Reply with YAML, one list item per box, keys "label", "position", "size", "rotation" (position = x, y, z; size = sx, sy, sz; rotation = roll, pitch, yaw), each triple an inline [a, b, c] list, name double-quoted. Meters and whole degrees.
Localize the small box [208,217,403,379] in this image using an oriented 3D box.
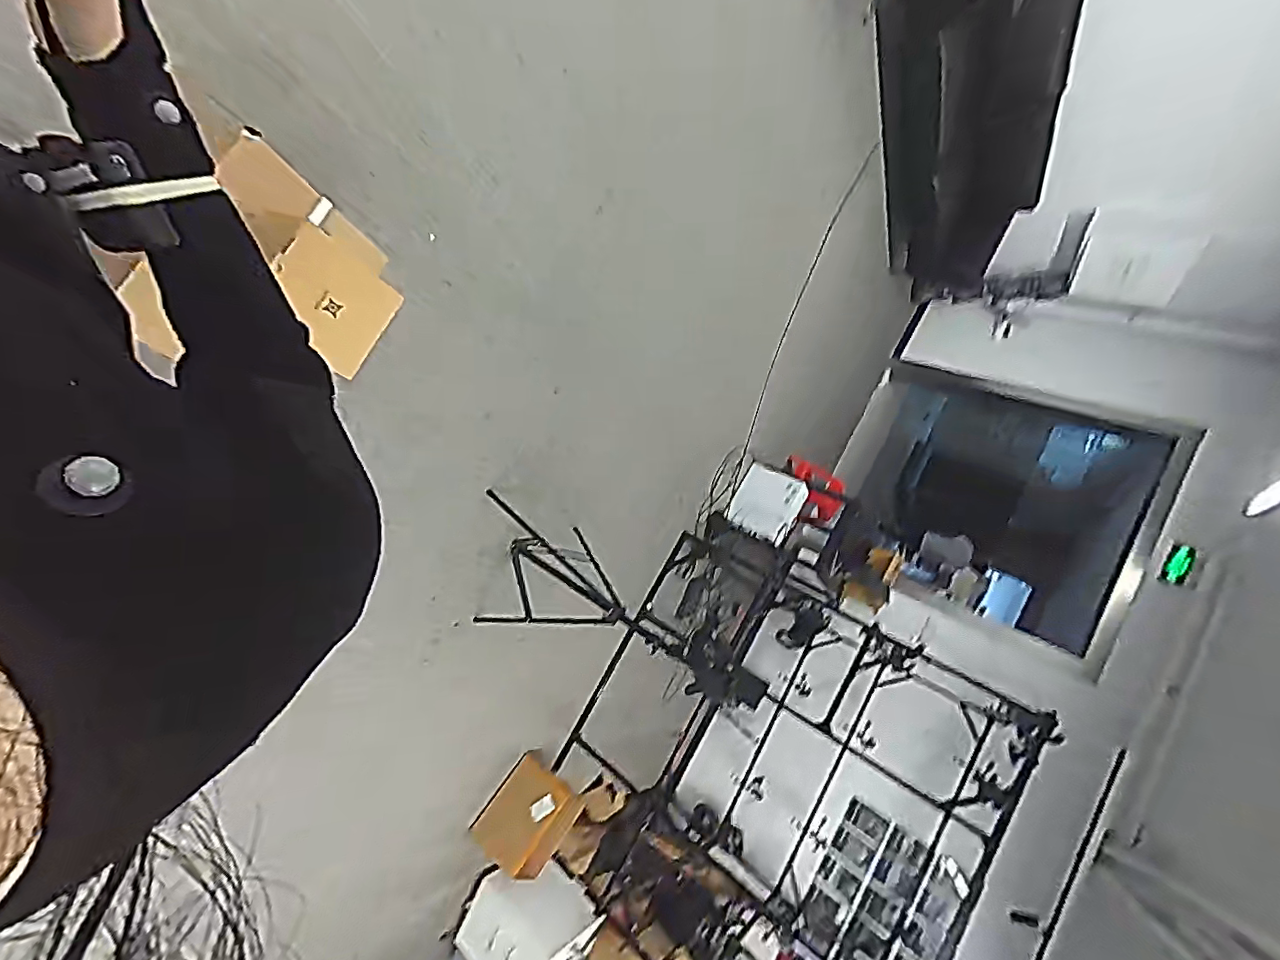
- label: "small box"
  position: [-0.528, -0.292, 0.860]
  size: [0.168, 0.176, 0.179]
  rotation: [-60, 145, -7]
